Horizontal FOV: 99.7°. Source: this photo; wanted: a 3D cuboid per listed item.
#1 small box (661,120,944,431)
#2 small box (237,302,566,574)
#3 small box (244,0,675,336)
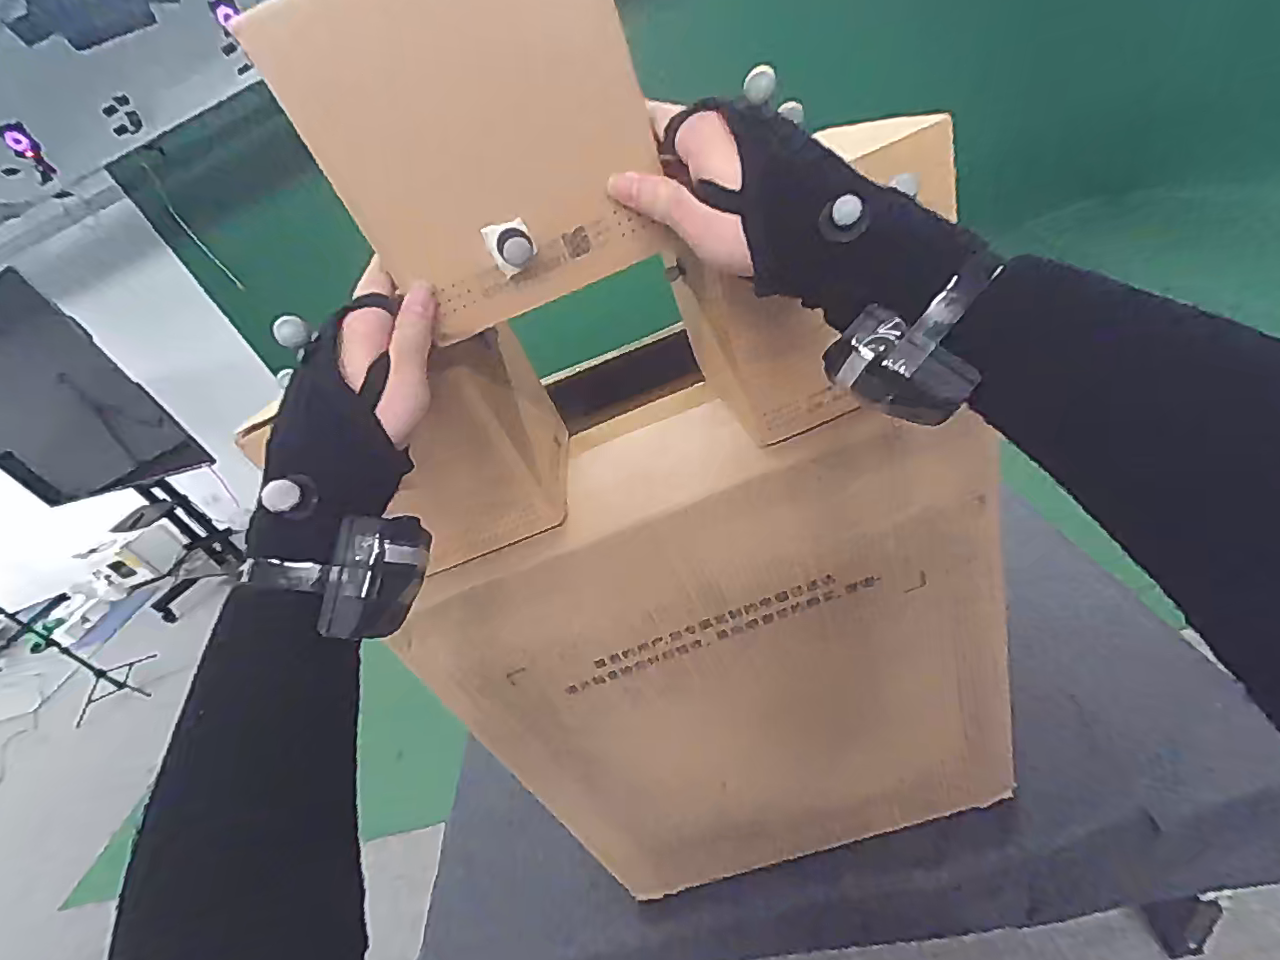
[{"bbox_3d":[0.119,-0.165,0.444,0.168,0.176,0.179,-23,32,2],"label":"small box"},{"bbox_3d":[-0.183,-0.045,0.478,0.179,0.176,0.168,-22,33,8],"label":"small box"},{"bbox_3d":[-0.094,-0.219,0.353,0.168,0.176,0.179,-24,37,2],"label":"small box"}]
